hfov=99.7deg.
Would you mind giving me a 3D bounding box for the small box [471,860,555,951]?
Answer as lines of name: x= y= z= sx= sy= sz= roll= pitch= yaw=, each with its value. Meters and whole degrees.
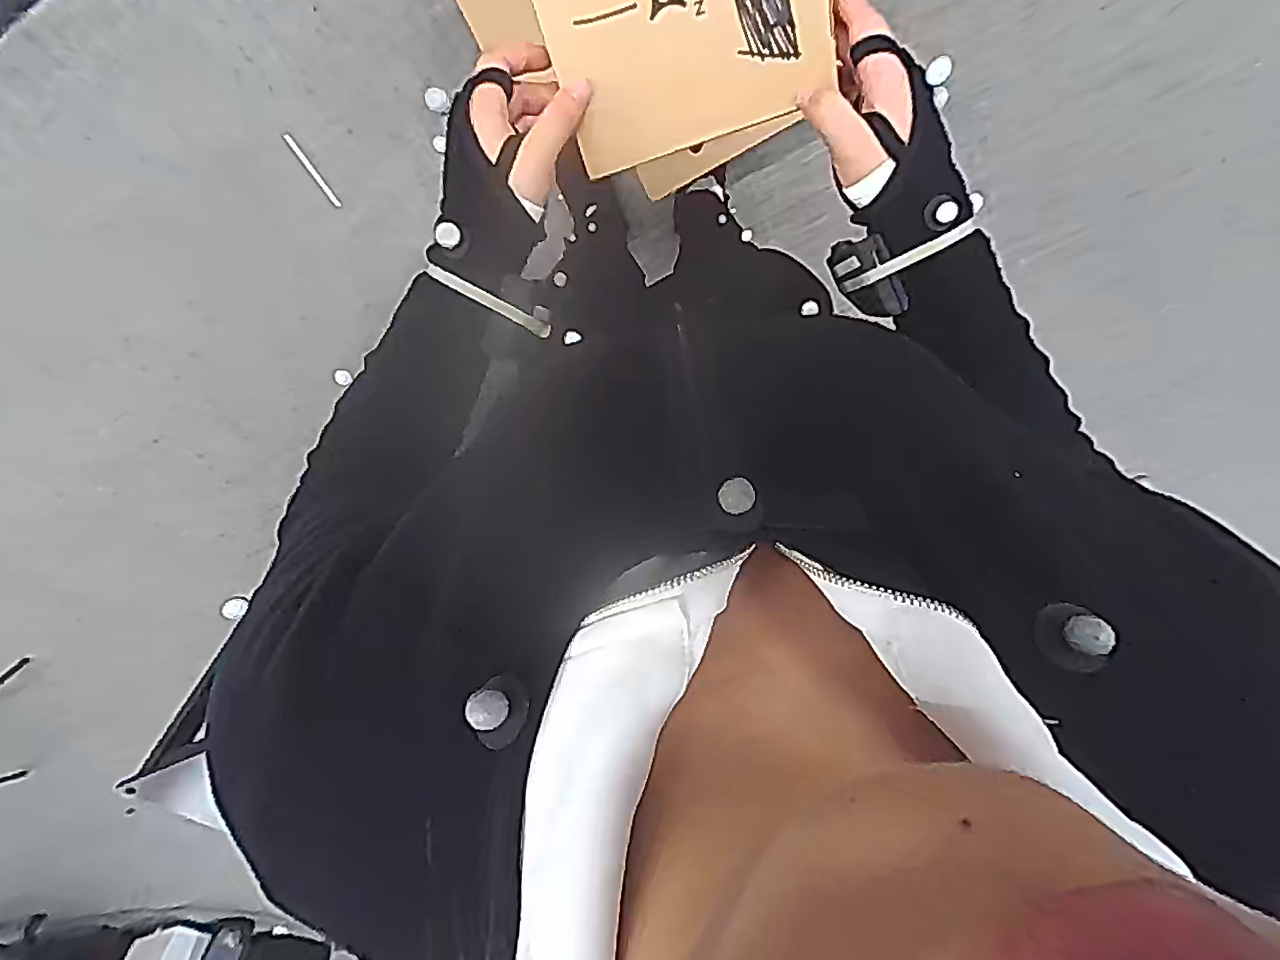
small box: x=-0.363 y=1.246 z=1.586 sx=0.168 sy=0.176 sz=0.179 roll=-26 pitch=124 yaw=14
